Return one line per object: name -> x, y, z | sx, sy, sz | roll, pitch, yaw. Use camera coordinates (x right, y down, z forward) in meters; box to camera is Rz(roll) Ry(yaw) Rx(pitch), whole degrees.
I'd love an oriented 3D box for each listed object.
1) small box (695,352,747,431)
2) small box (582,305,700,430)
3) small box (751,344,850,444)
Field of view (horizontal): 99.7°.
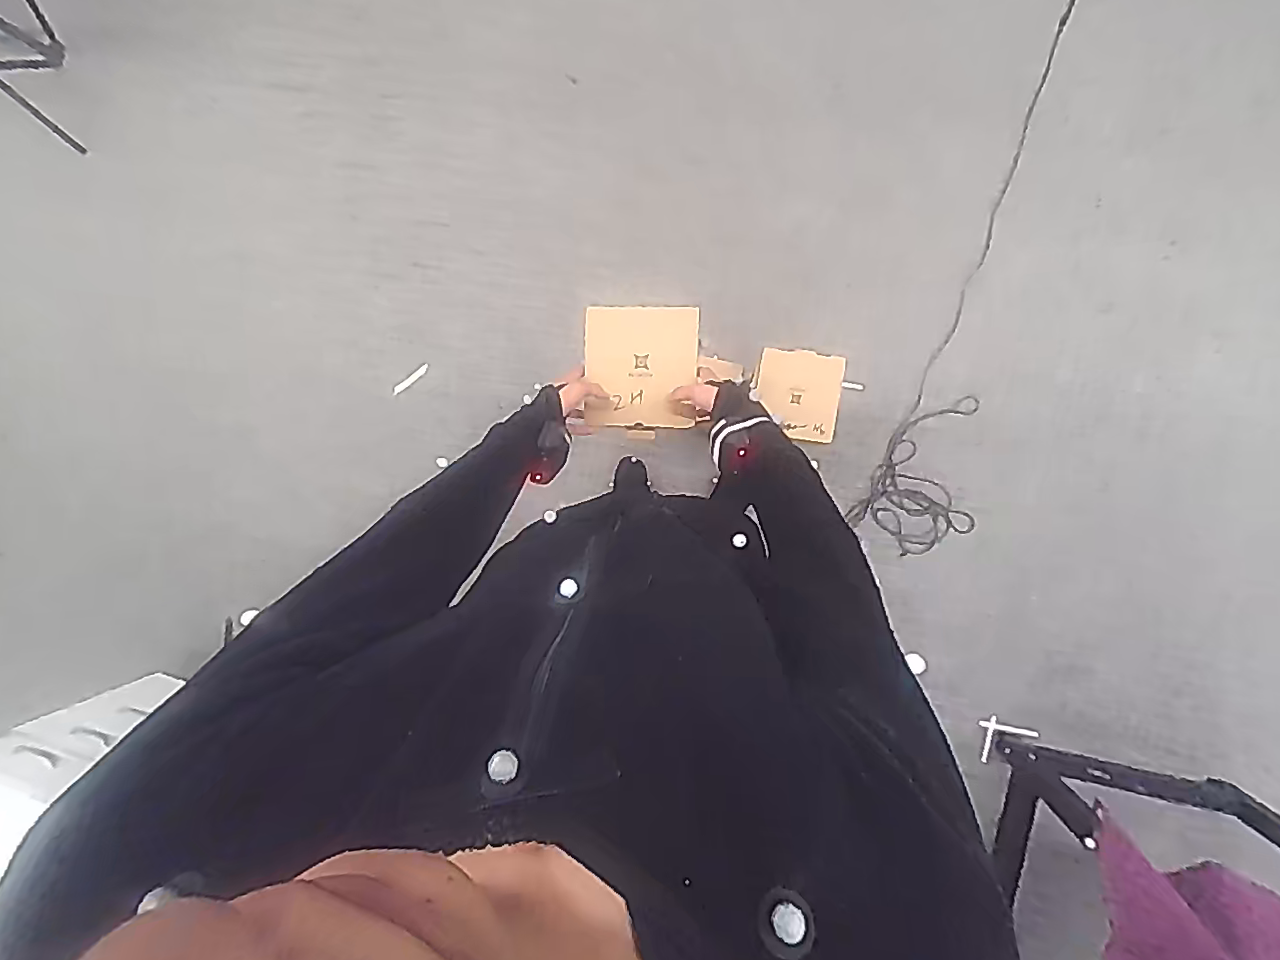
small box -> 0.161, -0.221, 1.349 | 0.179, 0.176, 0.168 | 16, 96, 10
small box -> 0.008, -0.170, 0.855 | 0.168, 0.176, 0.179 | 3, 97, 7
small box -> 0.332, -0.177, 1.153 | 0.168, 0.176, 0.179 | 10, 94, 10
